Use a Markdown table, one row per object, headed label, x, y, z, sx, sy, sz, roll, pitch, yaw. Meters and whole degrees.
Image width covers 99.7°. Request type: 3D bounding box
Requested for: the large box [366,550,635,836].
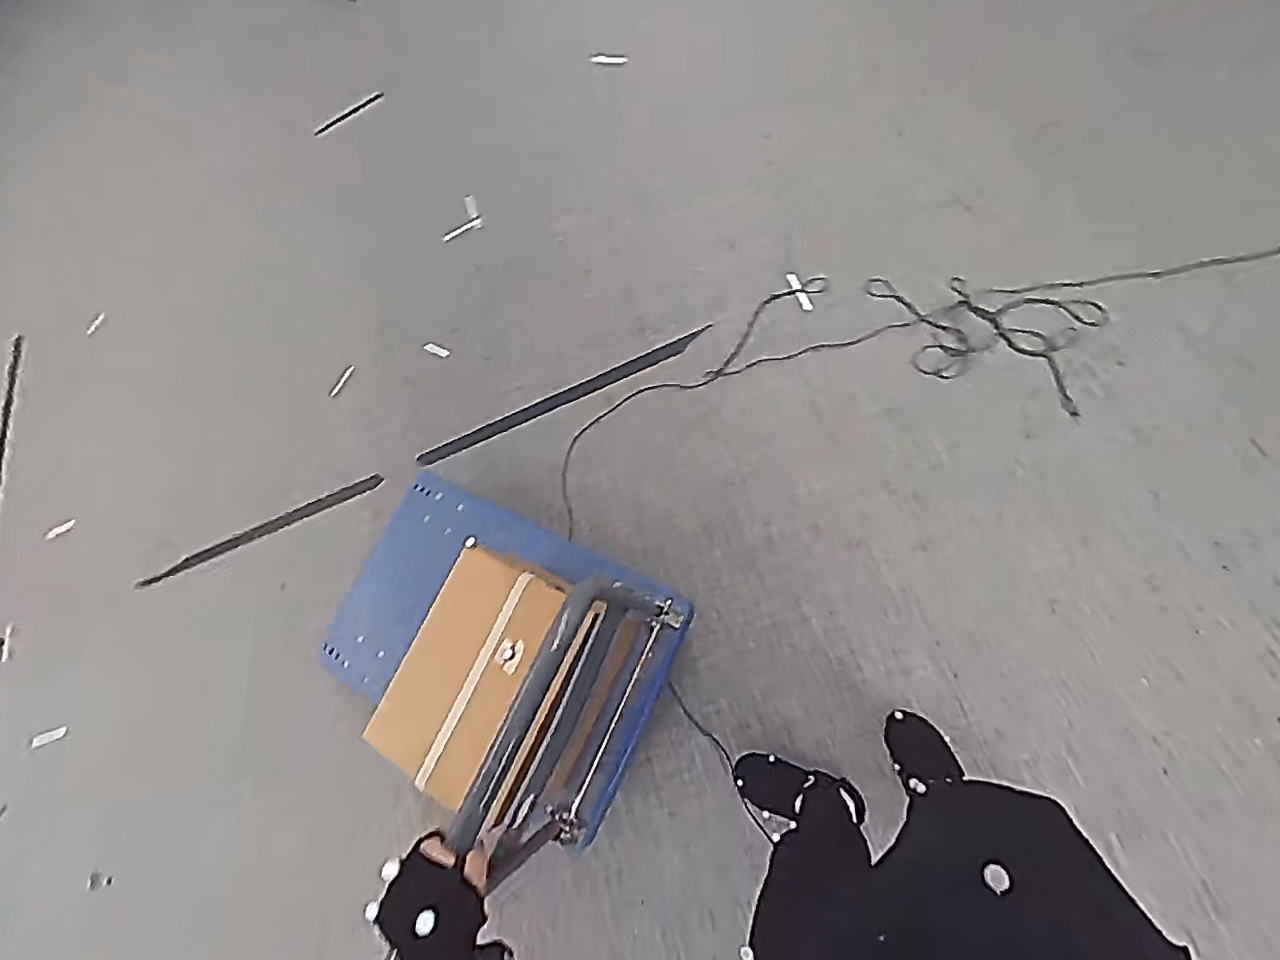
| label | x | y | z | sx | sy | sz | roll | pitch | yaw |
| --- | --- | --- | --- | --- | --- | --- | --- | --- | --- |
| large box | -0.259 | 0.412 | 1.116 | 0.320 | 0.320 | 0.408 | 22 | 79 | 21 |
